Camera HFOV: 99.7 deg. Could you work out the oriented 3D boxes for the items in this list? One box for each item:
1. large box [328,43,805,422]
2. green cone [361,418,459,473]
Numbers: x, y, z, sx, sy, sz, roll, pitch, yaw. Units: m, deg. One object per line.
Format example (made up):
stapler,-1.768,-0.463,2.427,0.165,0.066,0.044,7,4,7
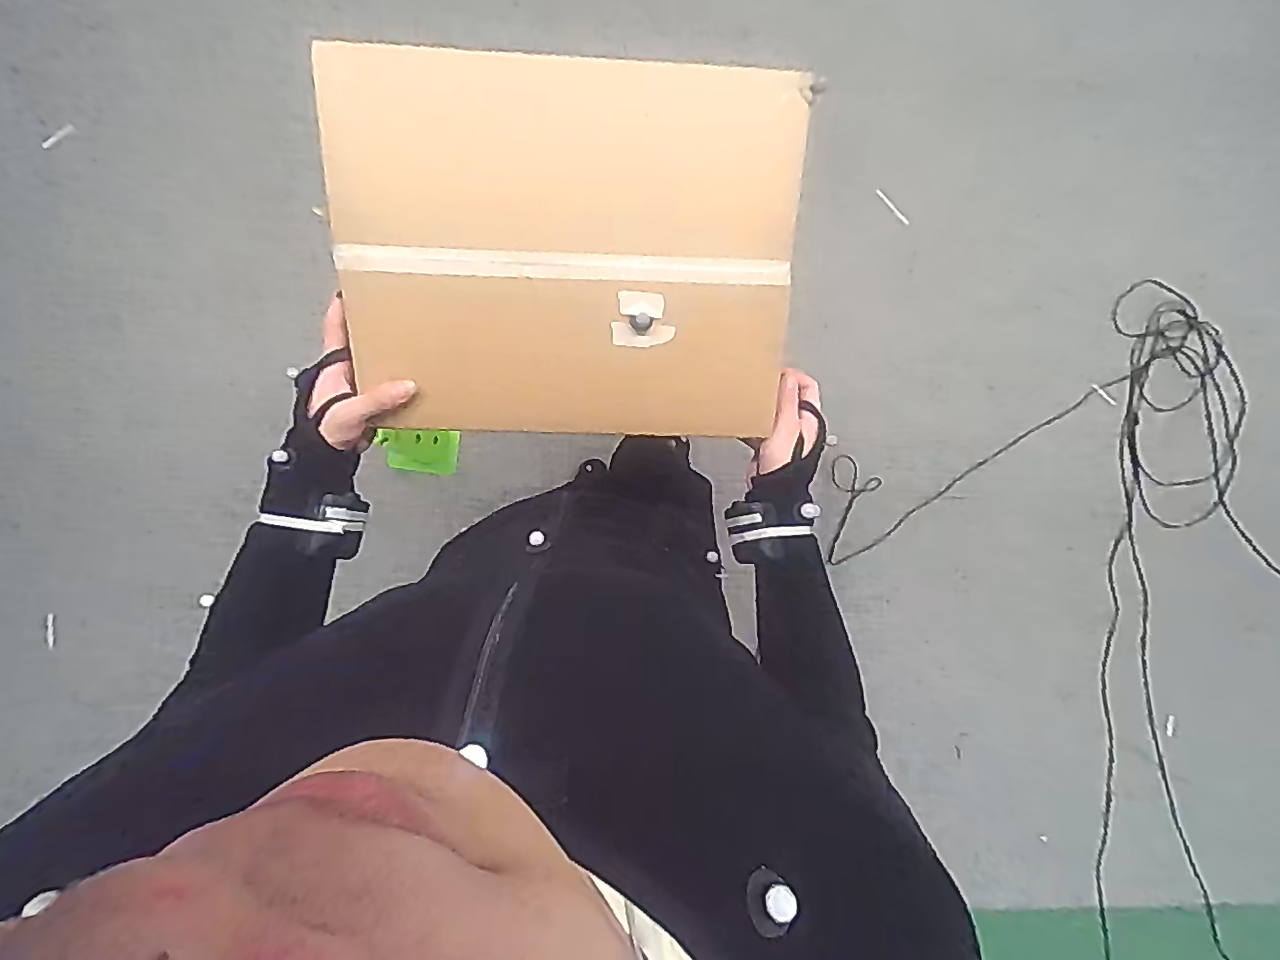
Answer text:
large box,-0.070,-0.253,0.636,0.408,0.320,0.320,1,110,-4
green cone,-0.634,-0.116,1.419,0.200,0.368,0.202,8,94,-3
